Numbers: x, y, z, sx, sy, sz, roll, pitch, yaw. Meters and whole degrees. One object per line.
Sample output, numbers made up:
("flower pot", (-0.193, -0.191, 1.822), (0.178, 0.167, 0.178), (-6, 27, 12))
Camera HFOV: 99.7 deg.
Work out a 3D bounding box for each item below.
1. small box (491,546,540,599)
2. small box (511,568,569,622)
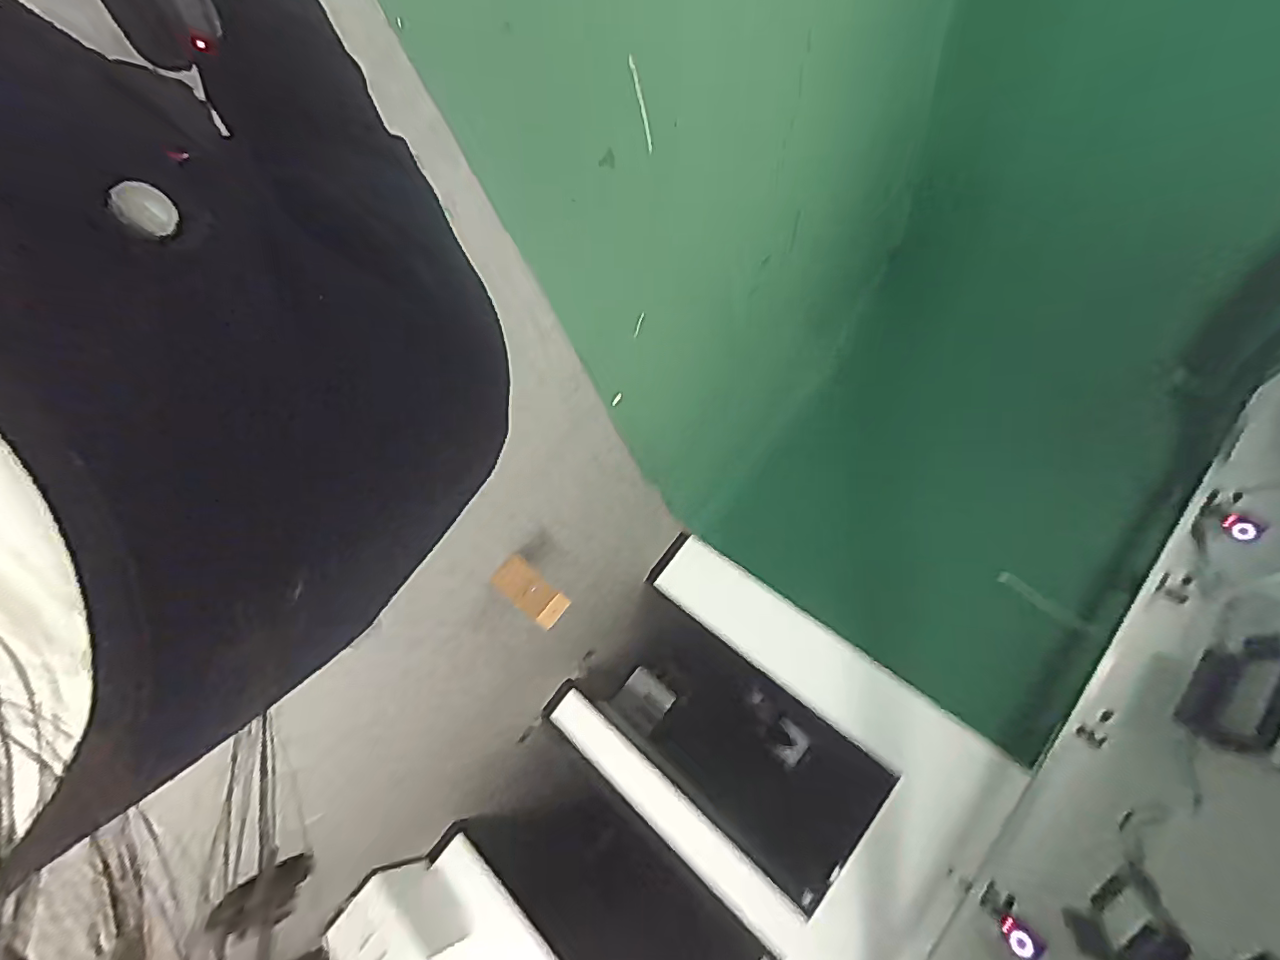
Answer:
("small box", (-0.597, 0.456, 2.616), (0.179, 0.176, 0.168), (-49, 153, -15))
("small box", (-0.473, 0.539, 2.551), (0.168, 0.176, 0.179), (-51, 153, -14))
